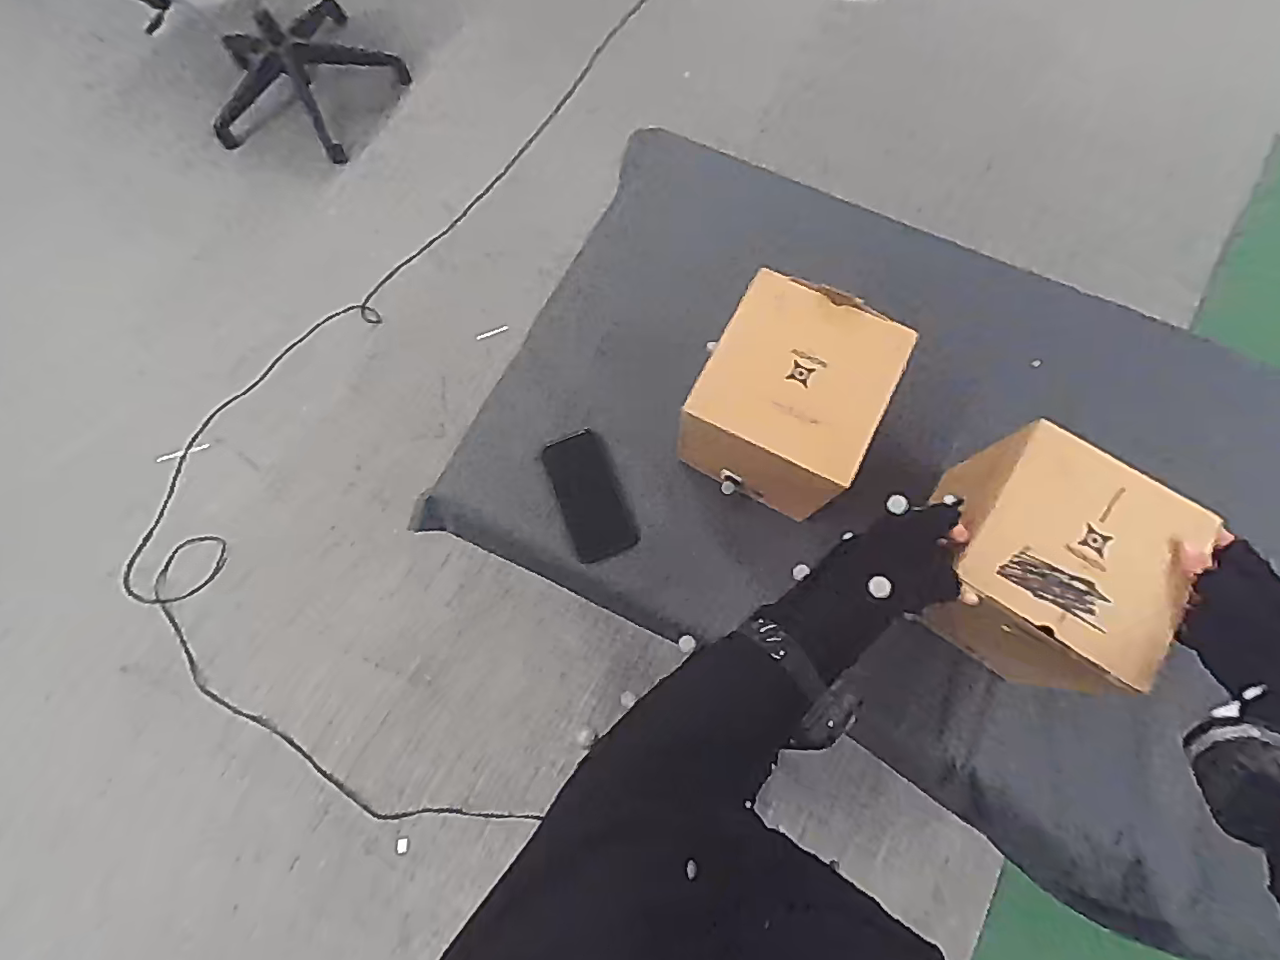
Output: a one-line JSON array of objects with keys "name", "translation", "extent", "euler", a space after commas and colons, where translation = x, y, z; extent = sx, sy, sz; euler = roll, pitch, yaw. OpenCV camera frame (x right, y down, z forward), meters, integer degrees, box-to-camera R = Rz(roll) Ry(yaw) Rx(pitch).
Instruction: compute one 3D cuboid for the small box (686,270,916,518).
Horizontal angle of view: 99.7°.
[{"name": "small box", "translation": [0.155, -0.080, 0.583], "extent": [0.168, 0.176, 0.179], "euler": [26, 78, 10]}]
